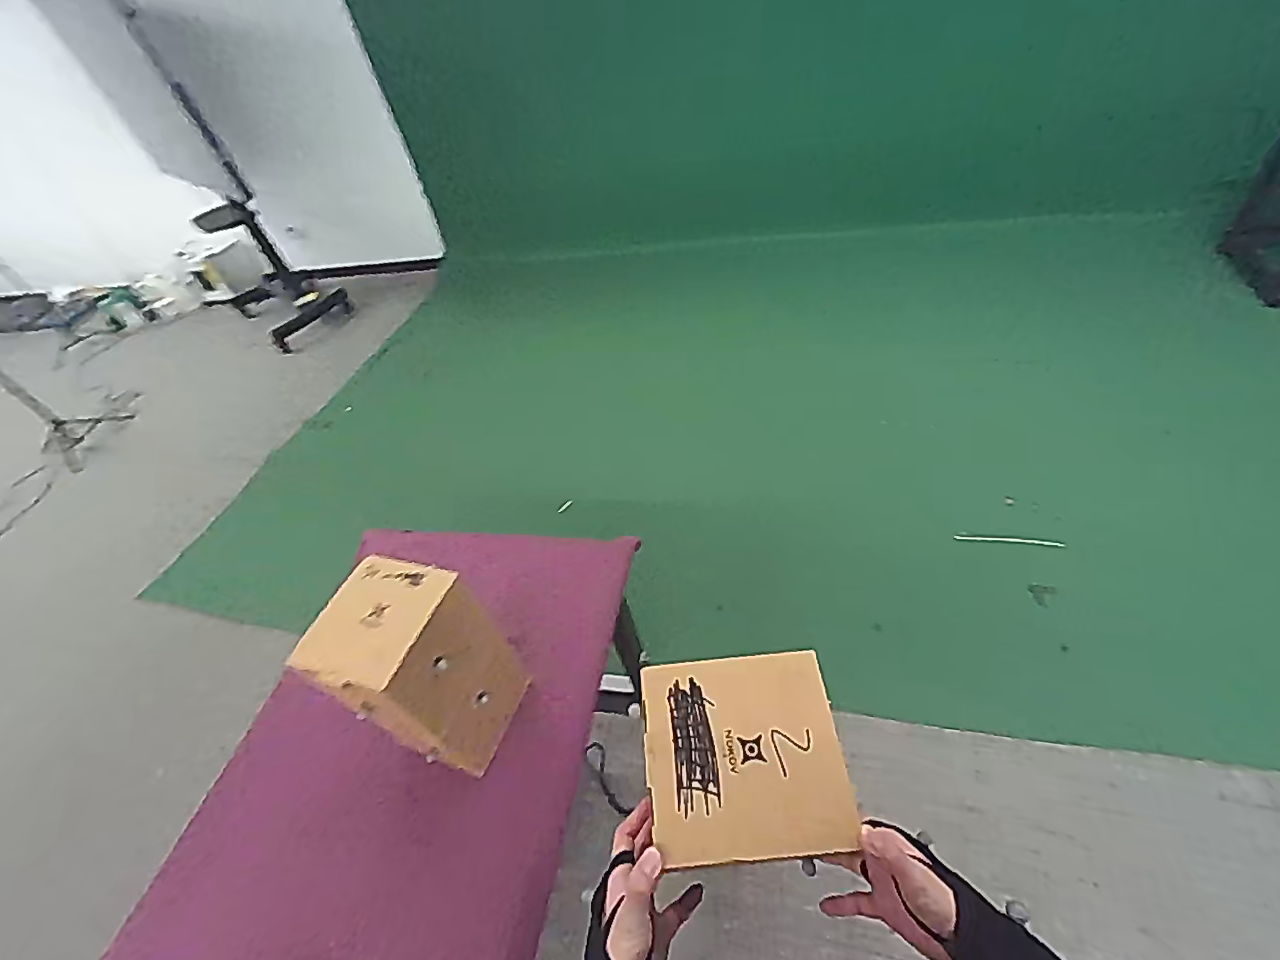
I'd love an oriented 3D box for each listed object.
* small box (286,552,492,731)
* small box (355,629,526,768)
[{"bbox_3d":[-0.339,0.231,0.772,0.168,0.176,0.179,8,51,19],"label":"small box"},{"bbox_3d":[-0.312,0.342,0.889,0.168,0.176,0.179,10,50,22],"label":"small box"}]
